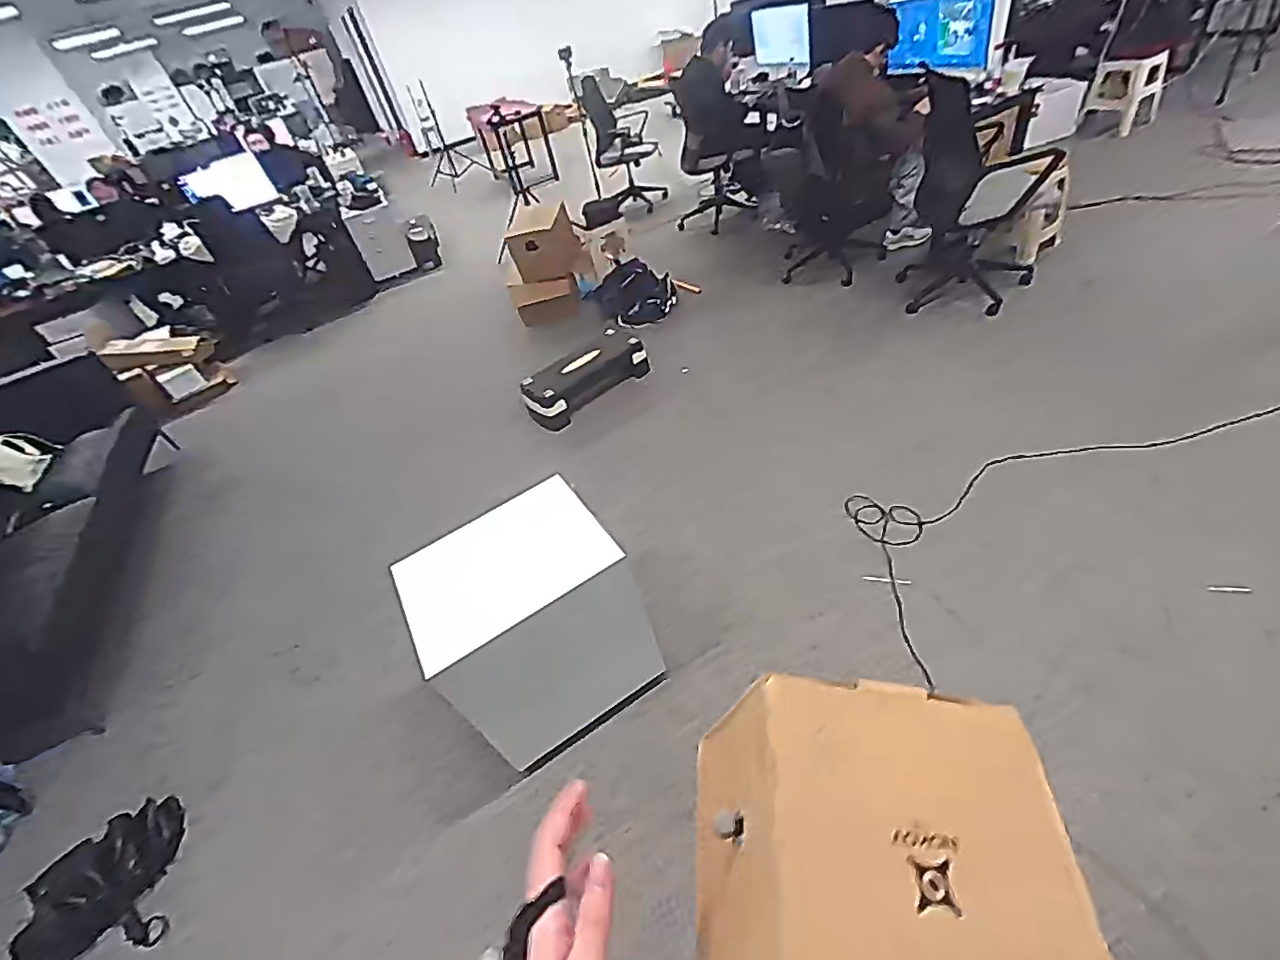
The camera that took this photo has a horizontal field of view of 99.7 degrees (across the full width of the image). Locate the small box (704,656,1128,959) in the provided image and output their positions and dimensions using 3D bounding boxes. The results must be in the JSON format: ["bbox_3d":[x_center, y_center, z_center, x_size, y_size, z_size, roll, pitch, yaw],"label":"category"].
[{"bbox_3d":[0.139,0.236,0.337,0.168,0.176,0.179,9,48,-4],"label":"small box"}]
